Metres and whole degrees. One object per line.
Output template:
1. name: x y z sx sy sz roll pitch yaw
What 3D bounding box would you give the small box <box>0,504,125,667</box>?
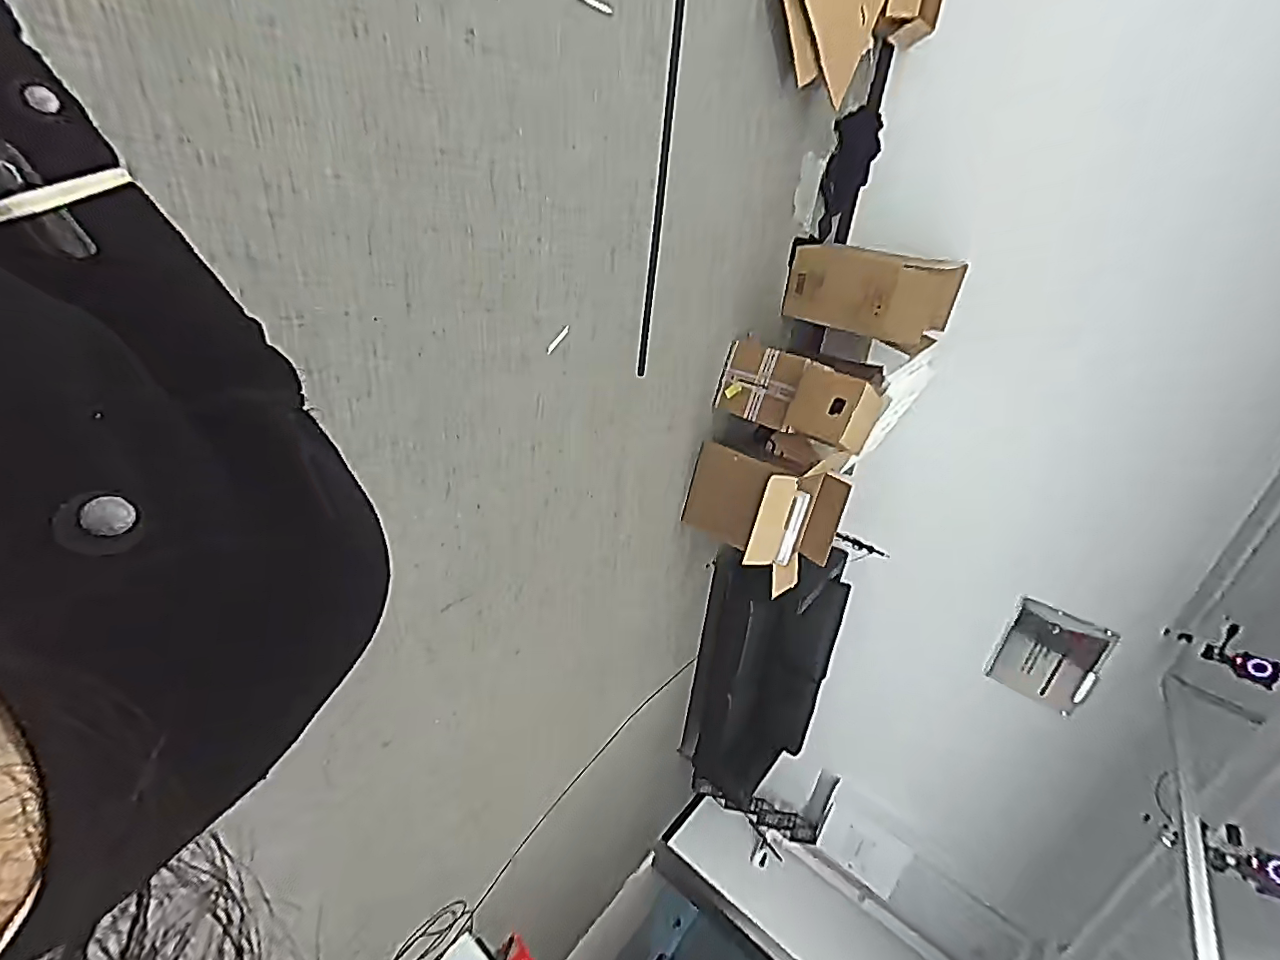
1. small box: -0.949 0.156 0.830 0.179 0.176 0.168 -25 128 -45
